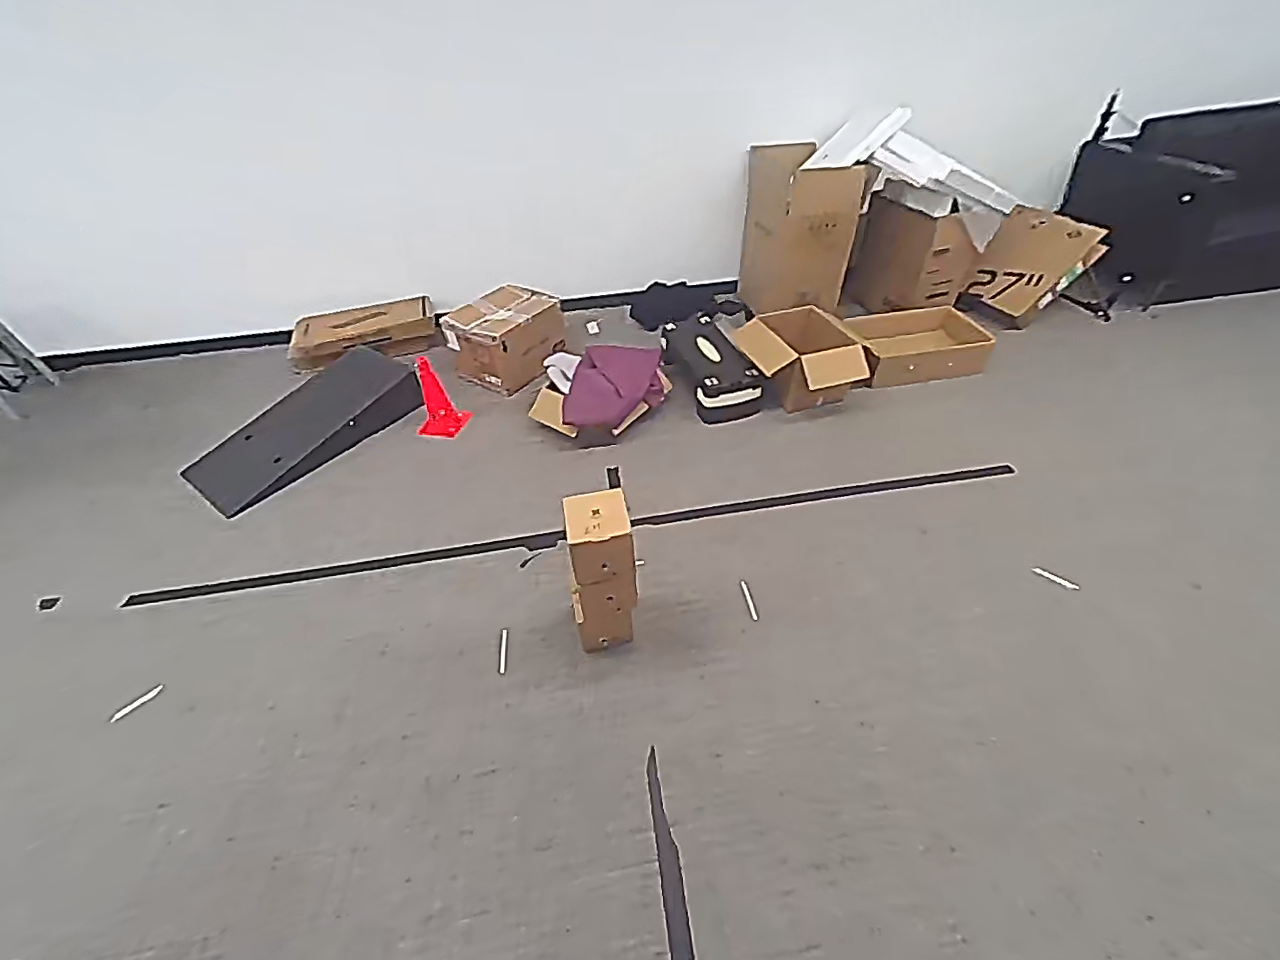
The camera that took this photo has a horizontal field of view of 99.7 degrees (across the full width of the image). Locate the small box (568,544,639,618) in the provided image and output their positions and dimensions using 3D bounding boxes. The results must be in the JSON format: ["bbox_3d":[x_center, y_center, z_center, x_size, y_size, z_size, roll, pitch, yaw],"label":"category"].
[{"bbox_3d":[-0.103,0.282,1.574,0.168,0.176,0.179,-13,43,-9],"label":"small box"}]

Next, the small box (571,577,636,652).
[{"bbox_3d":[-0.113,0.405,1.684,0.168,0.176,0.179,-13,44,-8],"label":"small box"}]

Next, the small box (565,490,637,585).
[{"bbox_3d":[-0.105,0.155,1.467,0.168,0.176,0.179,-10,43,-5],"label":"small box"}]
